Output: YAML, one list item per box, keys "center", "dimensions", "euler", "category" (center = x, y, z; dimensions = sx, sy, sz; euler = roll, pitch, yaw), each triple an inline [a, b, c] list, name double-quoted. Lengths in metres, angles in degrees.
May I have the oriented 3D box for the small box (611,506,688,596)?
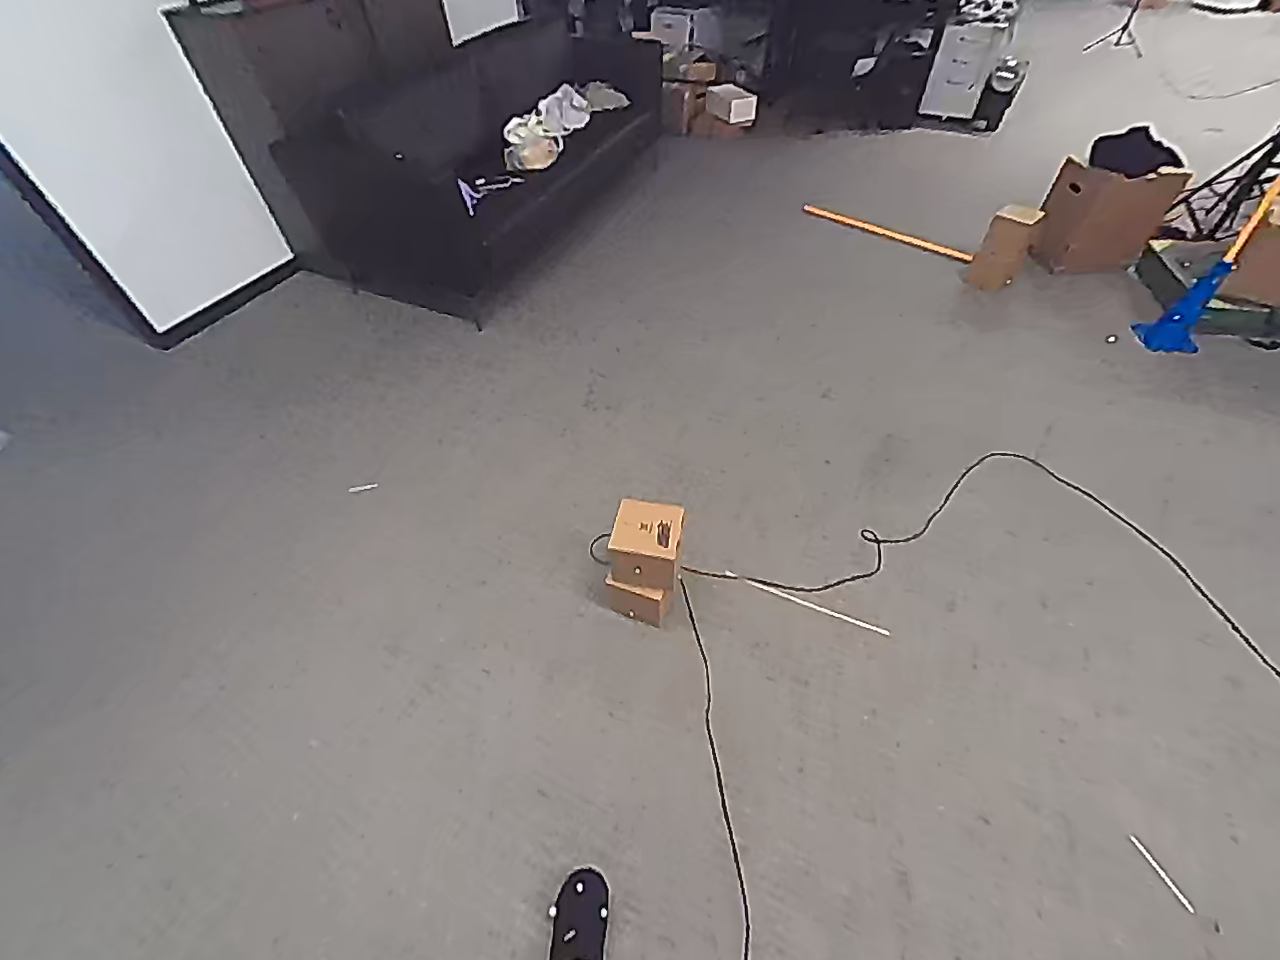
- center: [0.033, 0.196, 1.467]
  dimensions: [0.179, 0.176, 0.168]
  euler: [7, 49, 11]
  category: "small box"
